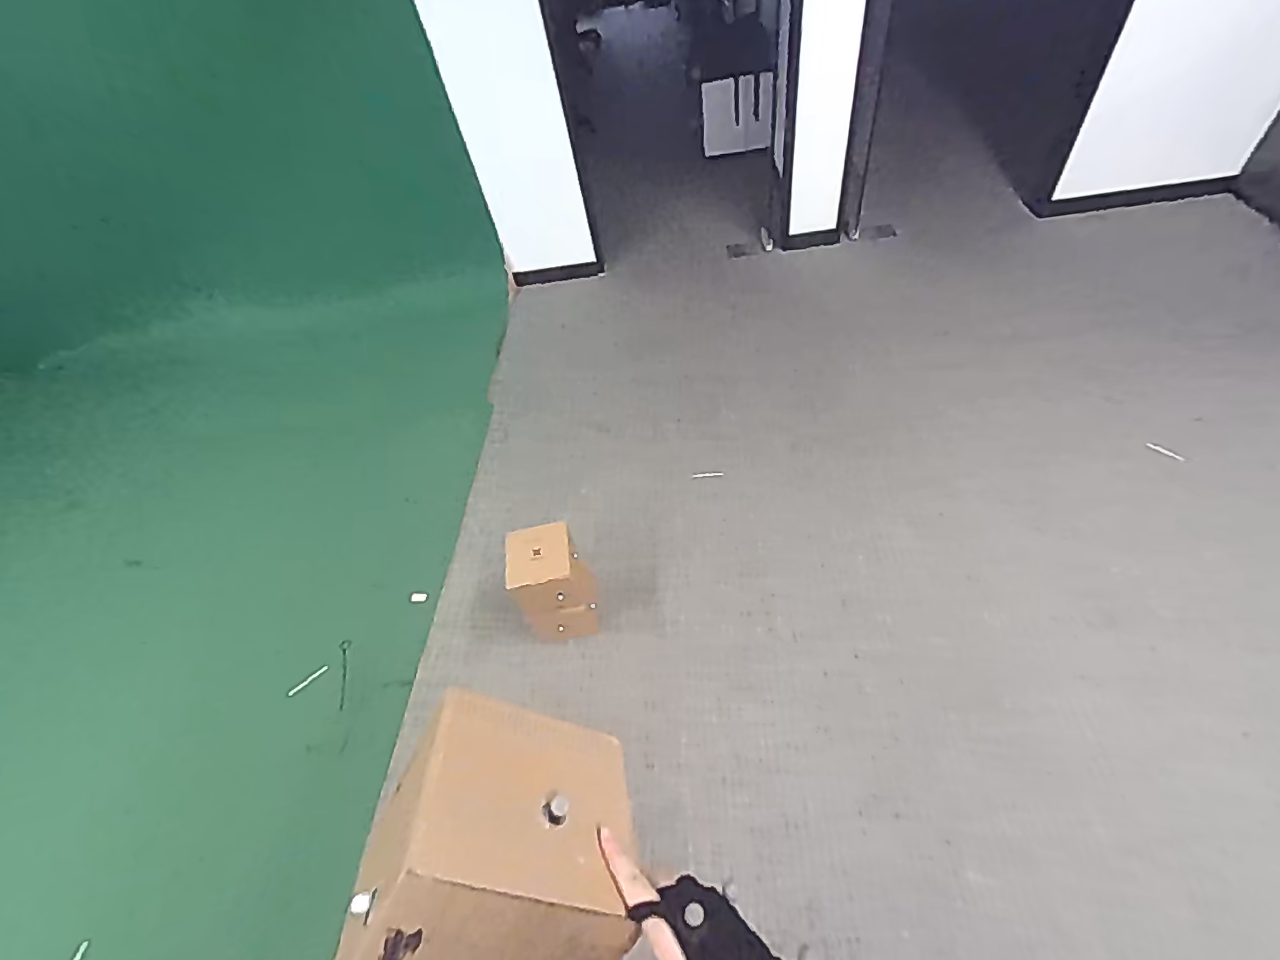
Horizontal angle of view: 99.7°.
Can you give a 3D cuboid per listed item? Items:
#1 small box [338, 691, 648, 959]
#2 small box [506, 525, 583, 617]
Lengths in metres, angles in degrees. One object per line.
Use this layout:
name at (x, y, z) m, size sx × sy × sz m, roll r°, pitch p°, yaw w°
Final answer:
small box at (-0.118, 0.310, 0.452) m, size 0.179 × 0.168 × 0.176 m, roll 26°, pitch 13°, yaw -17°
small box at (-0.253, 0.252, 1.451) m, size 0.168 × 0.176 × 0.179 m, roll -12°, pitch 48°, yaw 1°
